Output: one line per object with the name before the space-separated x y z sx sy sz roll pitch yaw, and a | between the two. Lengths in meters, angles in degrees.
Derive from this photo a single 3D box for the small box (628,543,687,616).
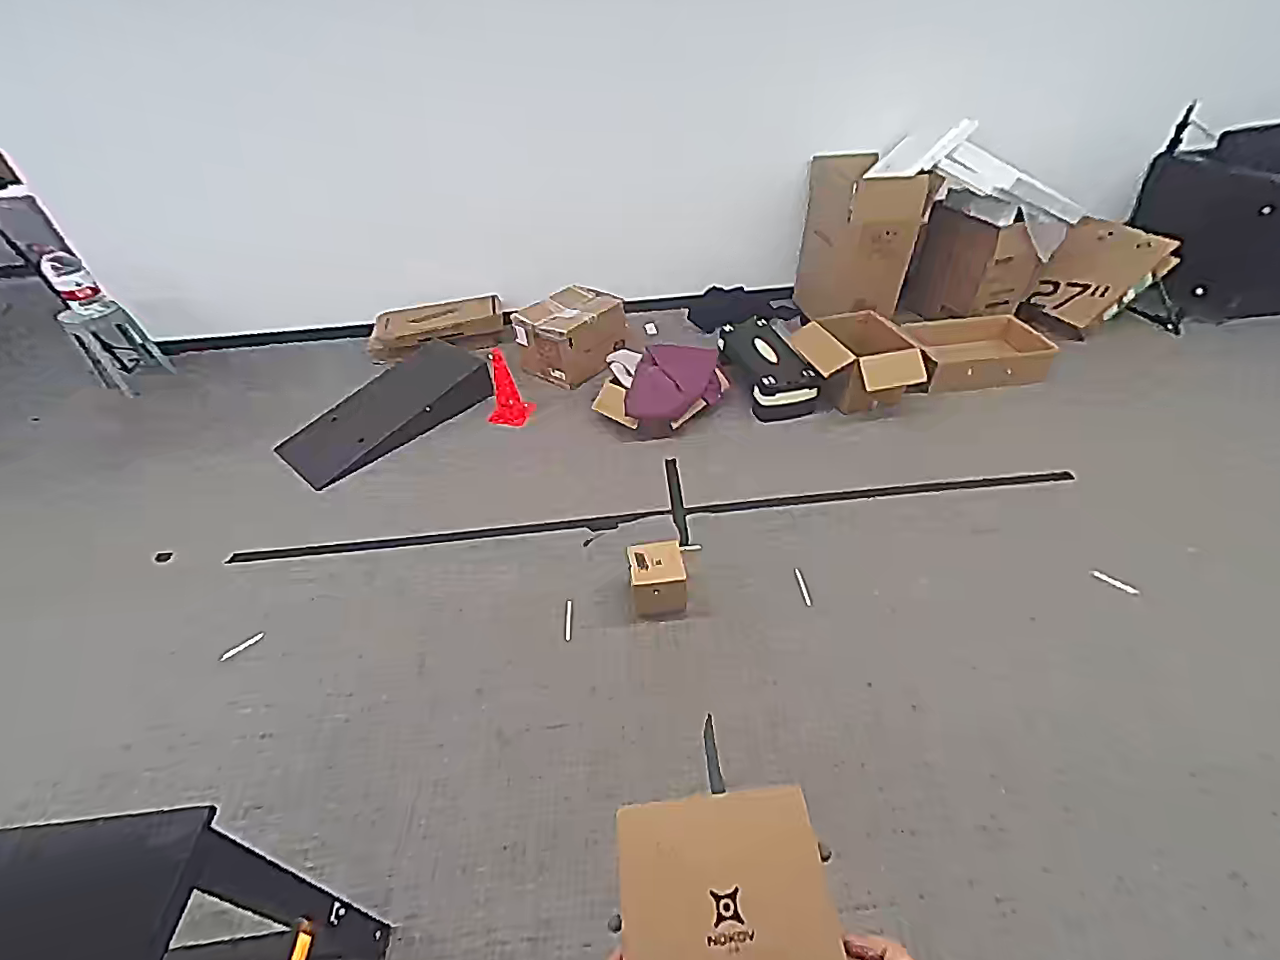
small box | 0.059 0.333 1.794 0.179 0.176 0.168 -7 41 -4

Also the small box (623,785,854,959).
small box | 0.078 0.390 0.464 0.168 0.176 0.179 -8 45 1
